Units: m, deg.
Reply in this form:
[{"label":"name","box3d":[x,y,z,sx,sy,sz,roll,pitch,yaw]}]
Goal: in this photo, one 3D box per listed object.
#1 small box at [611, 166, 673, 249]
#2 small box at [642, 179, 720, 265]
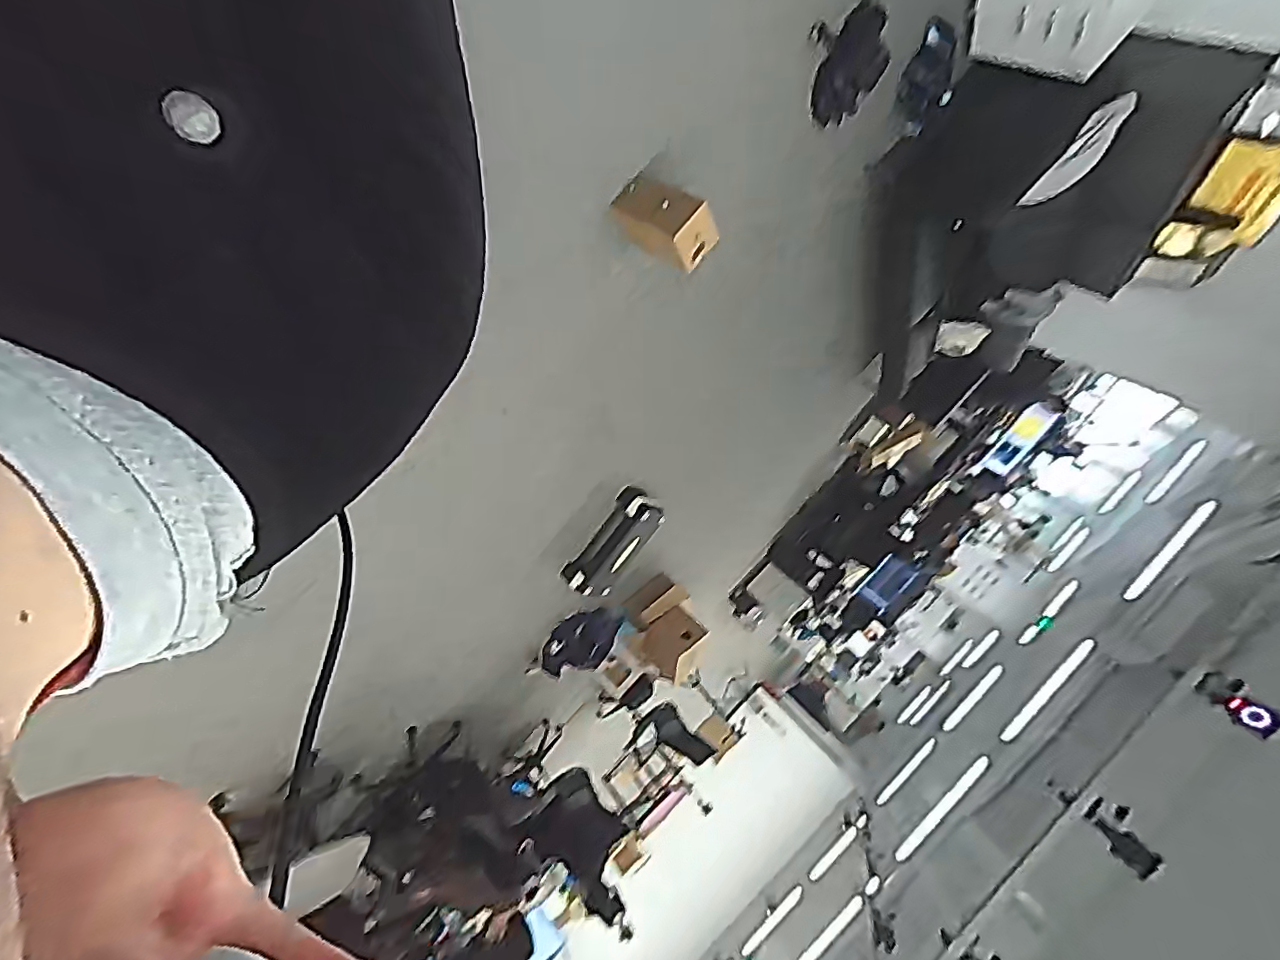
[{"label":"small box","box3d":[0.032,-0.960,1.898,0.168,0.176,0.179,-50,149,0]},{"label":"small box","box3d":[0.138,-0.869,1.812,0.168,0.176,0.179,-50,150,0]}]
